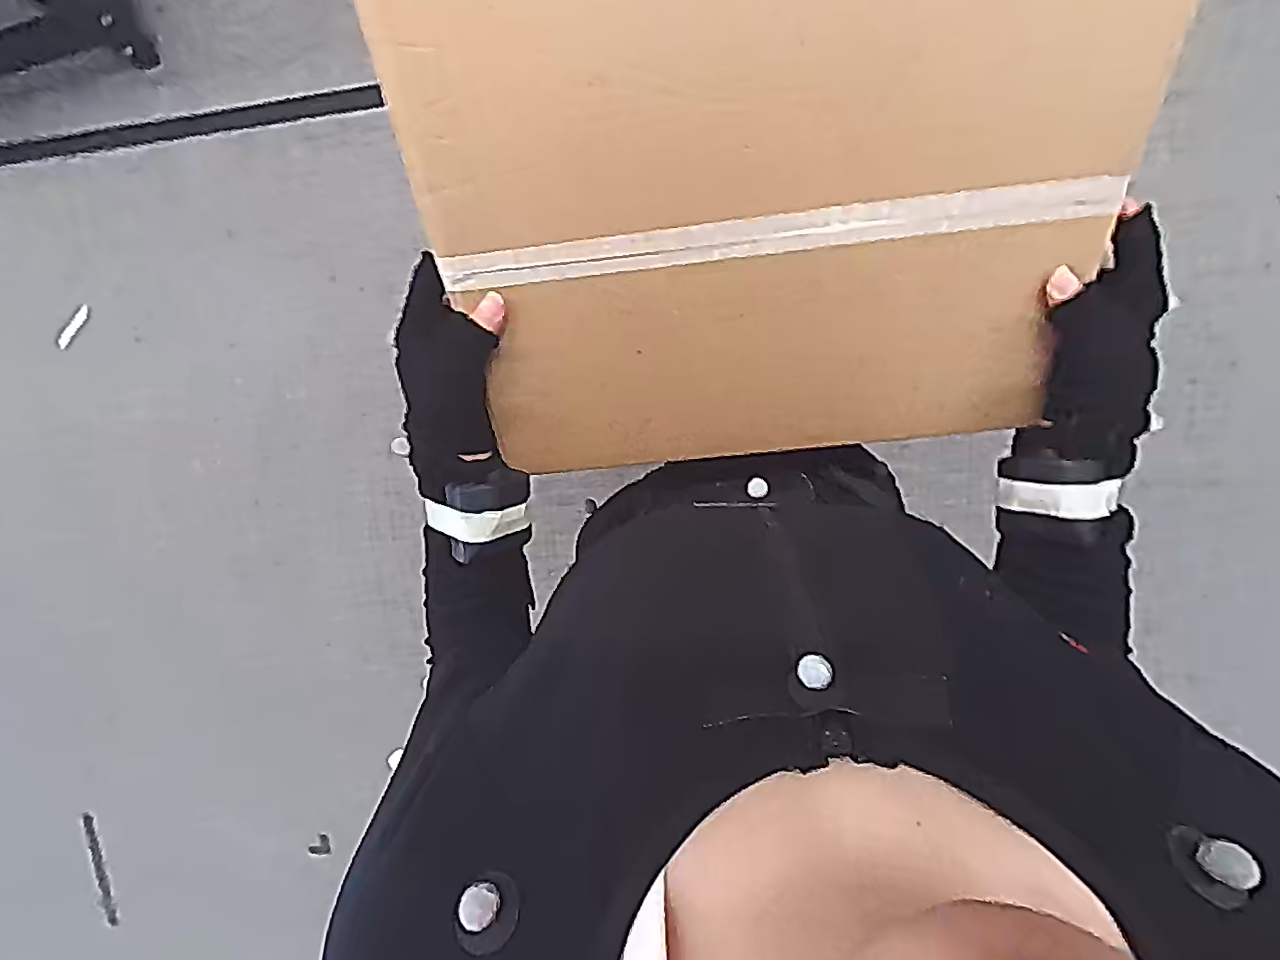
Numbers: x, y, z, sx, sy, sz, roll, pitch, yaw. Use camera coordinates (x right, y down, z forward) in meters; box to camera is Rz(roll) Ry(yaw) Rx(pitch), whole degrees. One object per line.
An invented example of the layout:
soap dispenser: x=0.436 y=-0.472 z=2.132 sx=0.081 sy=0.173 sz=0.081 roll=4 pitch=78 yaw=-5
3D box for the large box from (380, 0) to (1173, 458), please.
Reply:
large box: x=0.076 y=-0.246 z=0.452 sx=0.408 sy=0.320 sz=0.320 roll=-5 pitch=127 yaw=2
